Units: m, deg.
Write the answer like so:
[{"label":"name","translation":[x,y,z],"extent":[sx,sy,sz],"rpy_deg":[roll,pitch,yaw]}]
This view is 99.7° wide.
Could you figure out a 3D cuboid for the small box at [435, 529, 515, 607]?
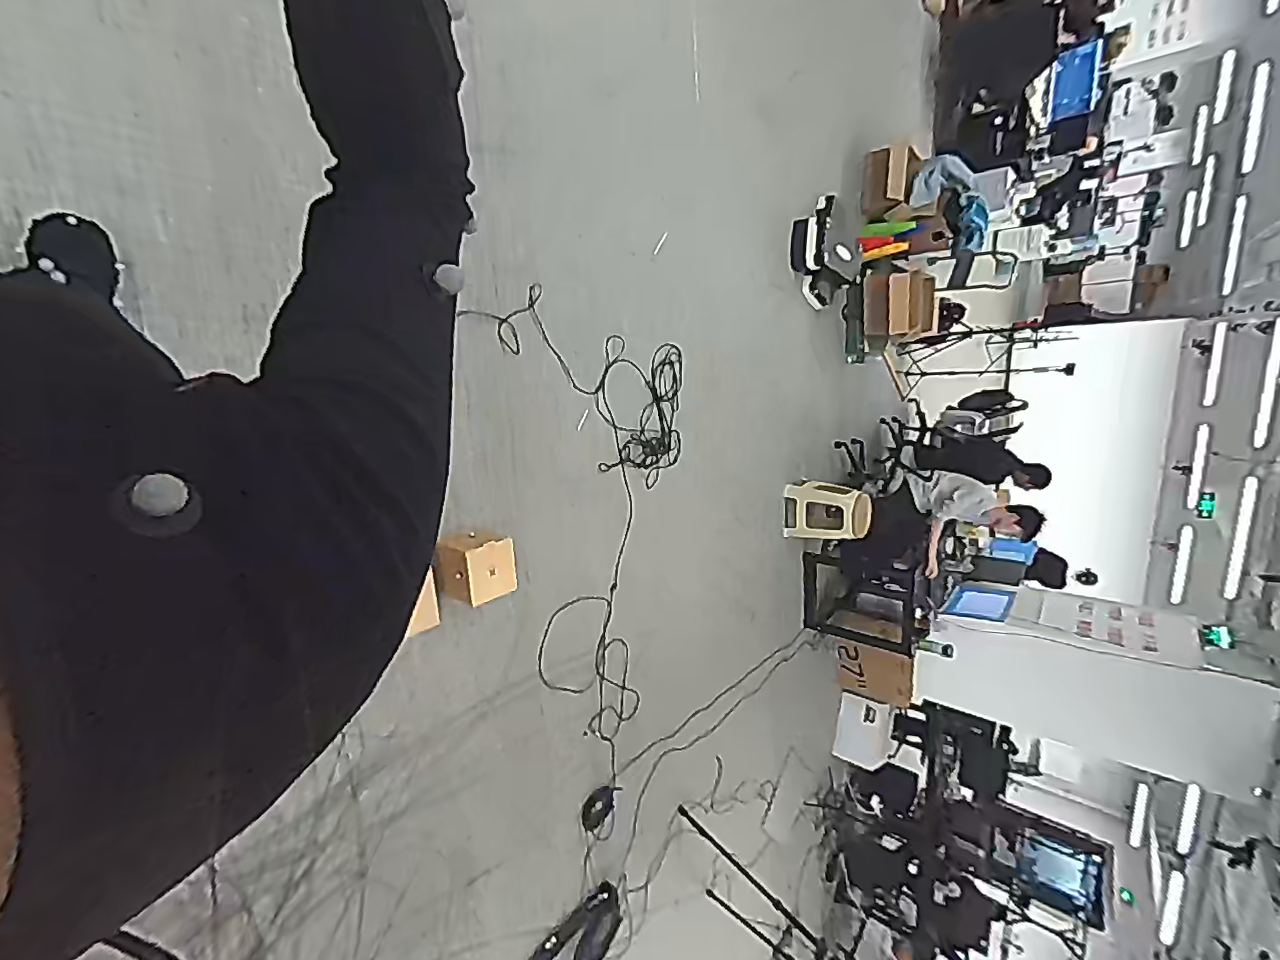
[{"label":"small box","translation":[-0.506,0.263,1.658],"extent":[0.168,0.176,0.179],"rpy_deg":[-17,108,-48]}]
